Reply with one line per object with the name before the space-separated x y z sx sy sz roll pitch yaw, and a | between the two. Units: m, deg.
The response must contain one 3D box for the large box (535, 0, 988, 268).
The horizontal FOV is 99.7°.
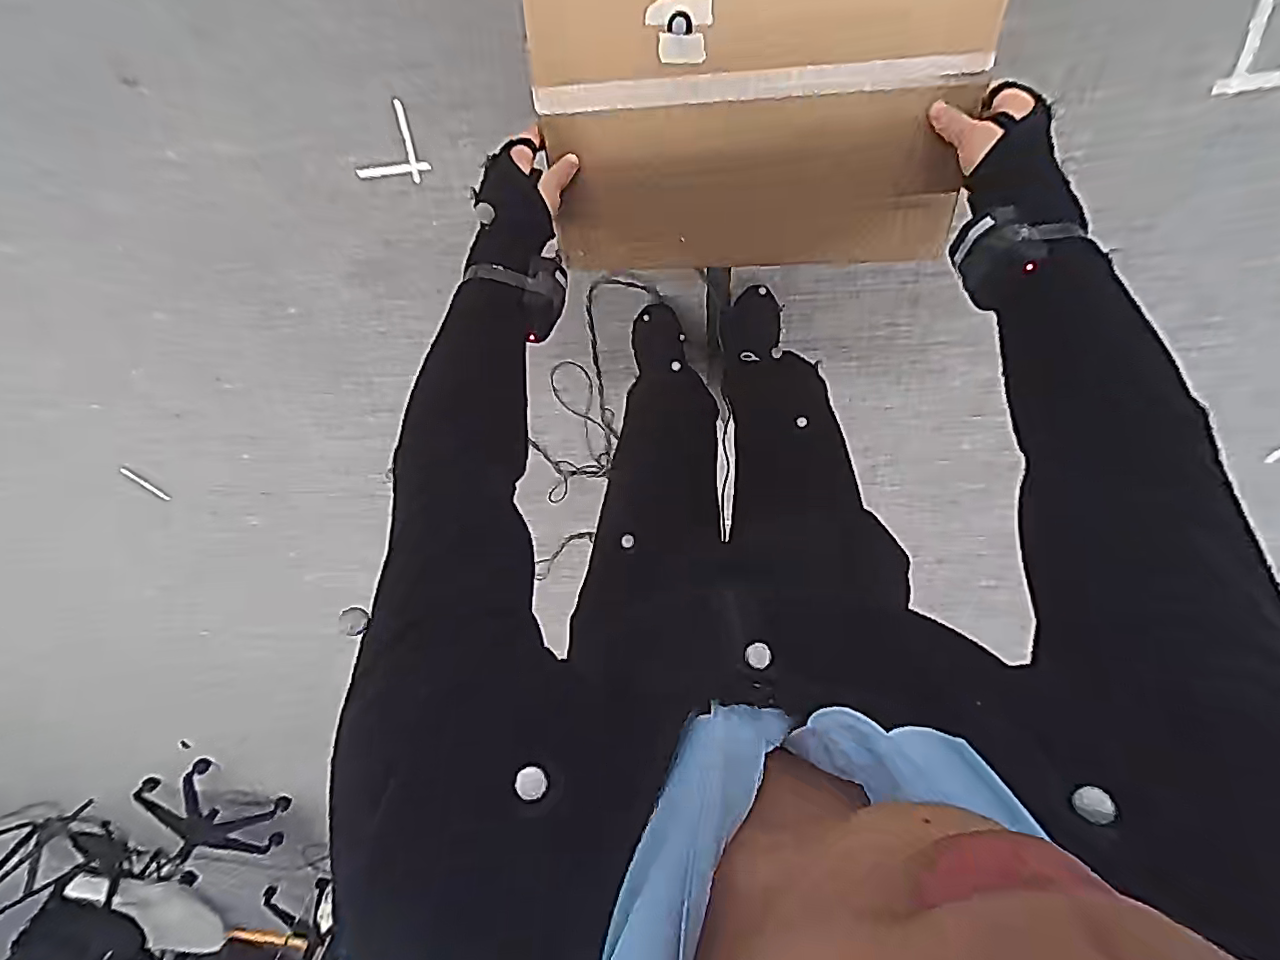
large box | 0.123 -0.456 0.635 0.408 0.320 0.320 0 123 7
